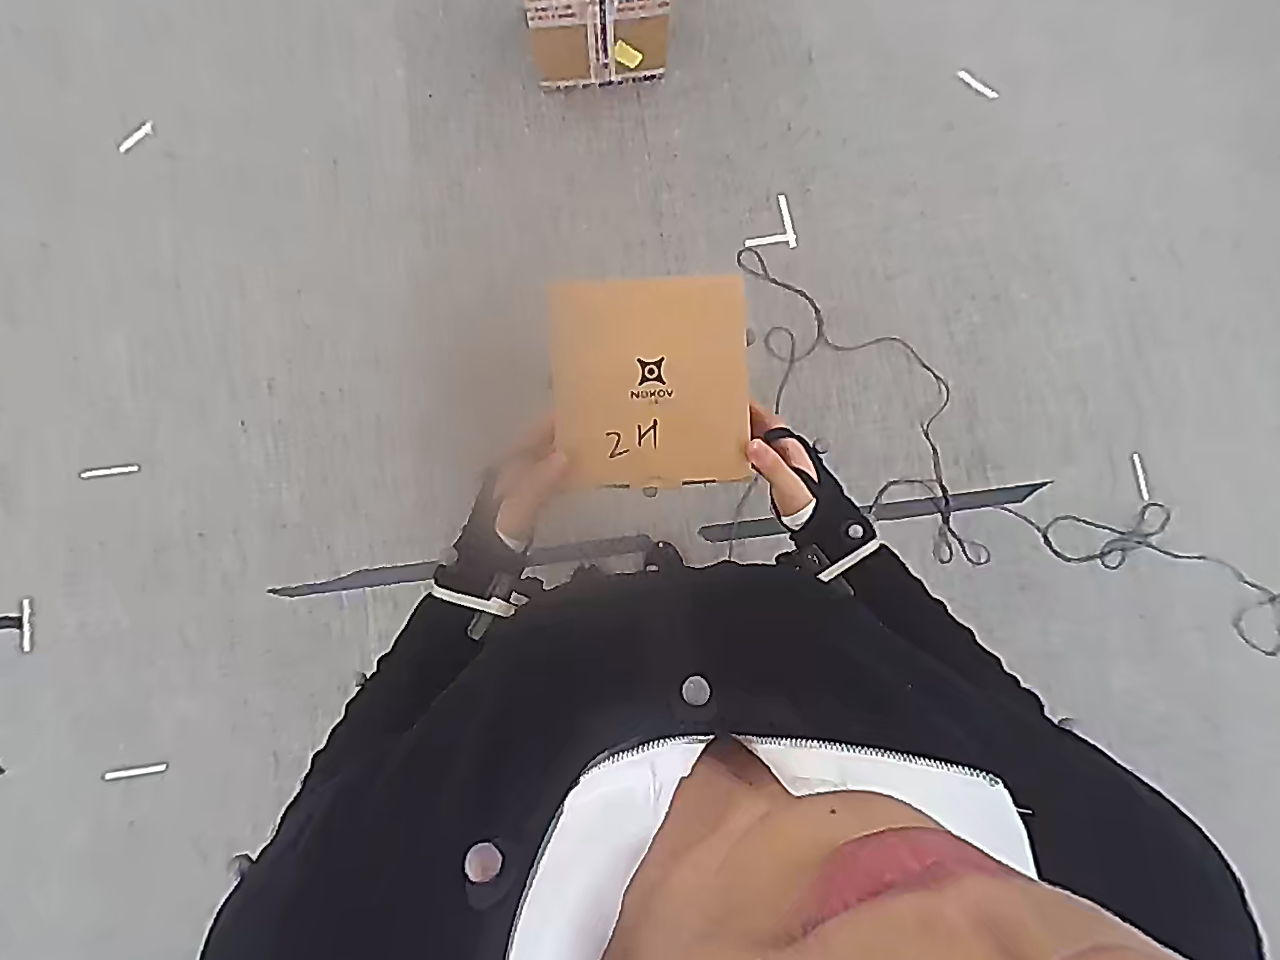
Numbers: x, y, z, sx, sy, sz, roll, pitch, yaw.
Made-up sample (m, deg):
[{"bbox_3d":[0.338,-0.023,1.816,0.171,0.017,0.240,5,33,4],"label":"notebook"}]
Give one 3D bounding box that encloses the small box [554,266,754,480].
[{"bbox_3d":[0.009,-0.090,0.529,0.168,0.176,0.179,-3,92,-1],"label":"small box"}]
